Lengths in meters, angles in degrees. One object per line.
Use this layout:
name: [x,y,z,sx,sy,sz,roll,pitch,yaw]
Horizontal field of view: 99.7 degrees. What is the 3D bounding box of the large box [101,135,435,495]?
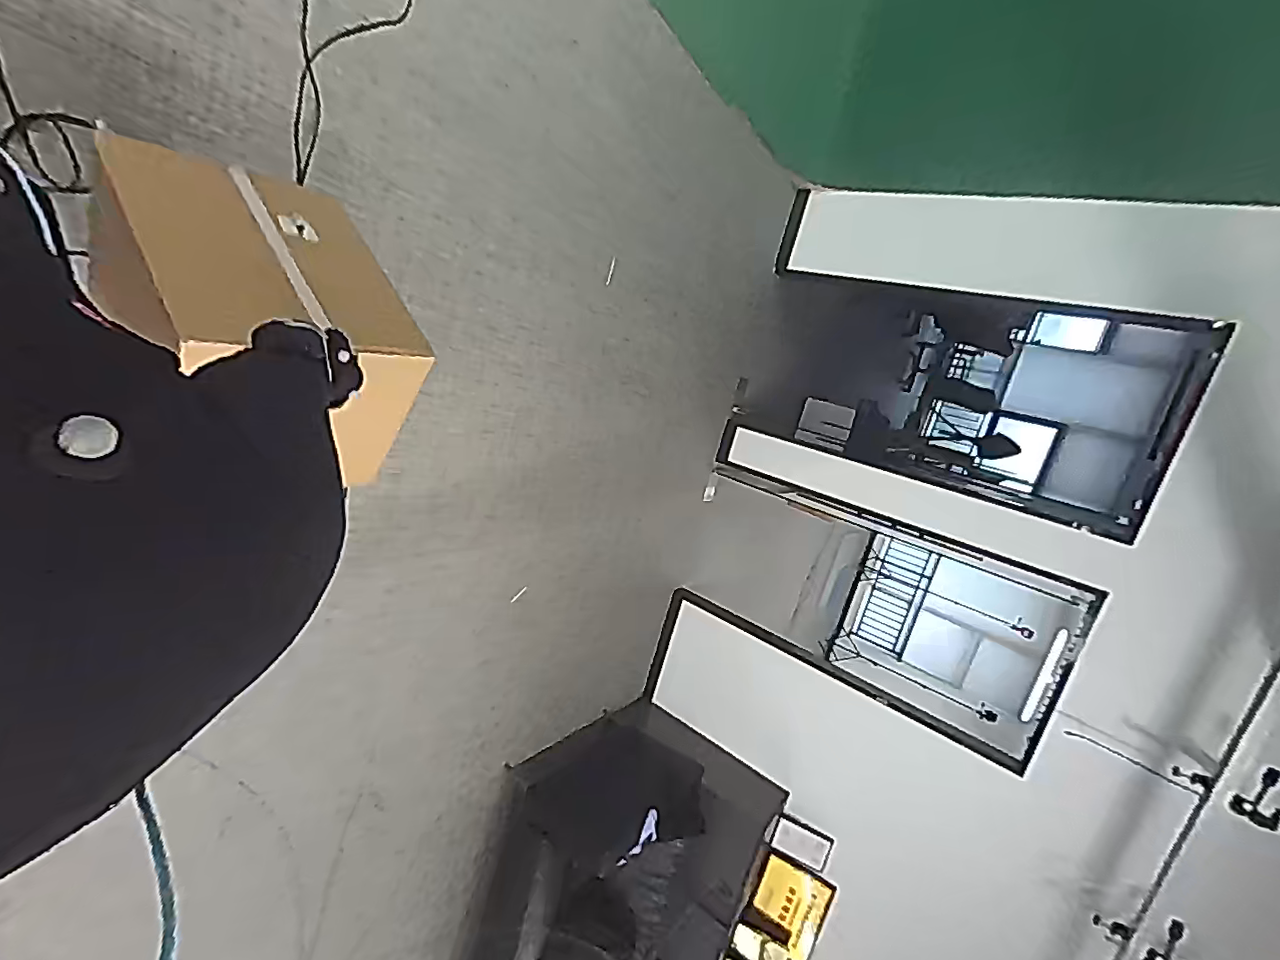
large box: [-0.602,-0.240,0.866,0.320,0.408,0.320,-11,150,-52]
